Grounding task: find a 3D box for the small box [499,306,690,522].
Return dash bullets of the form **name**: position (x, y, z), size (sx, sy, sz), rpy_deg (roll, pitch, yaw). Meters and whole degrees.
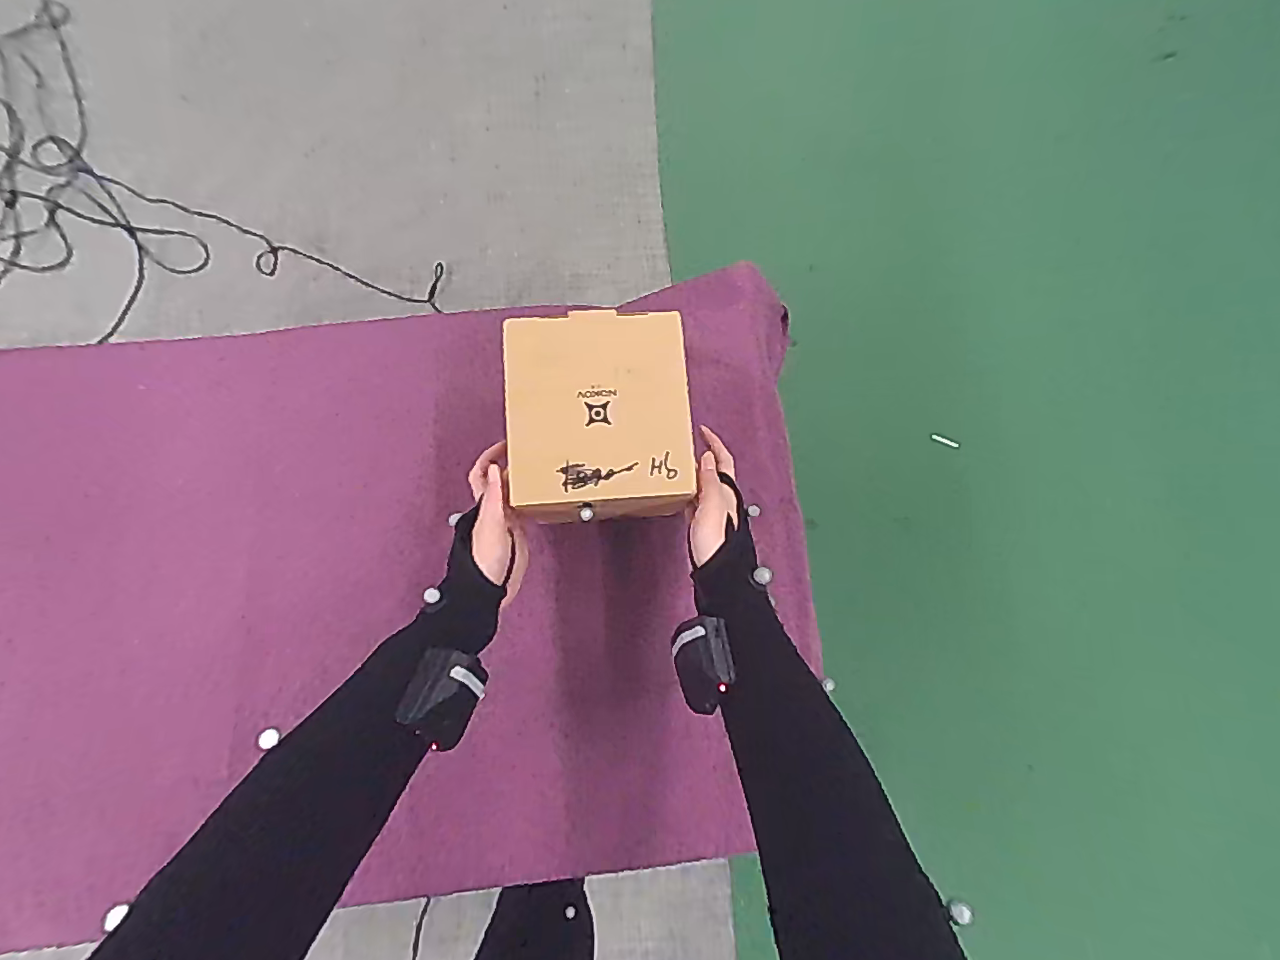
- **small box**: position (-0.047, -0.058, 0.559), size (0.168, 0.176, 0.179), rpy_deg (-4, 80, -3)
